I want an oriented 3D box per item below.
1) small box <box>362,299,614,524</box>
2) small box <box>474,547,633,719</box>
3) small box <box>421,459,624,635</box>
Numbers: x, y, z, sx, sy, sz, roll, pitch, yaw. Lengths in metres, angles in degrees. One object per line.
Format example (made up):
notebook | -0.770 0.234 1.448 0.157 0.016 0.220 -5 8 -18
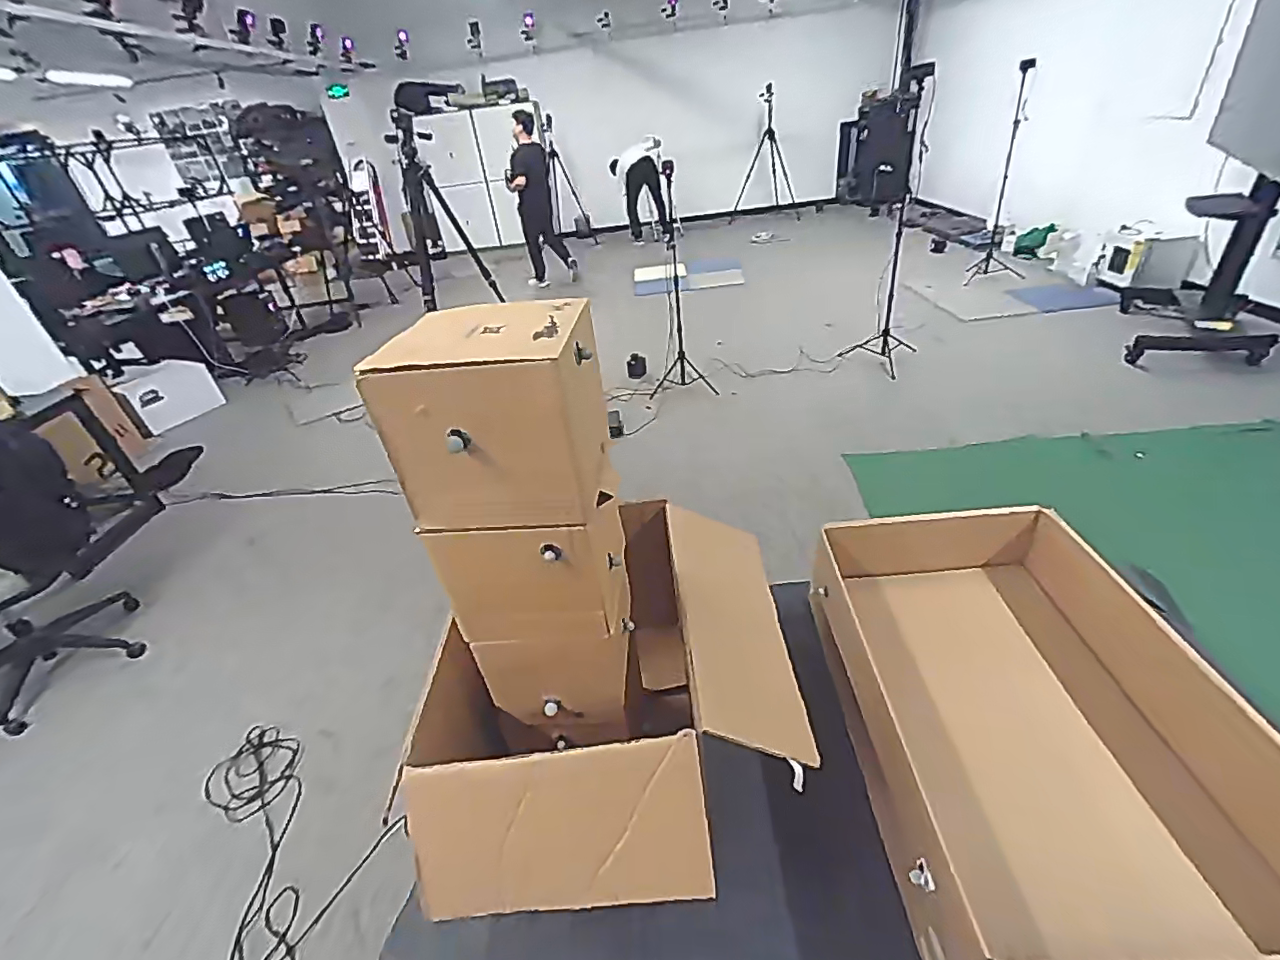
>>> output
small box | -0.130 -0.068 0.543 0.179 0.176 0.168 -3 35 7
small box | -0.102 0.196 0.731 0.168 0.176 0.179 -3 37 6
small box | -0.120 0.066 0.637 0.179 0.176 0.168 -3 35 6
